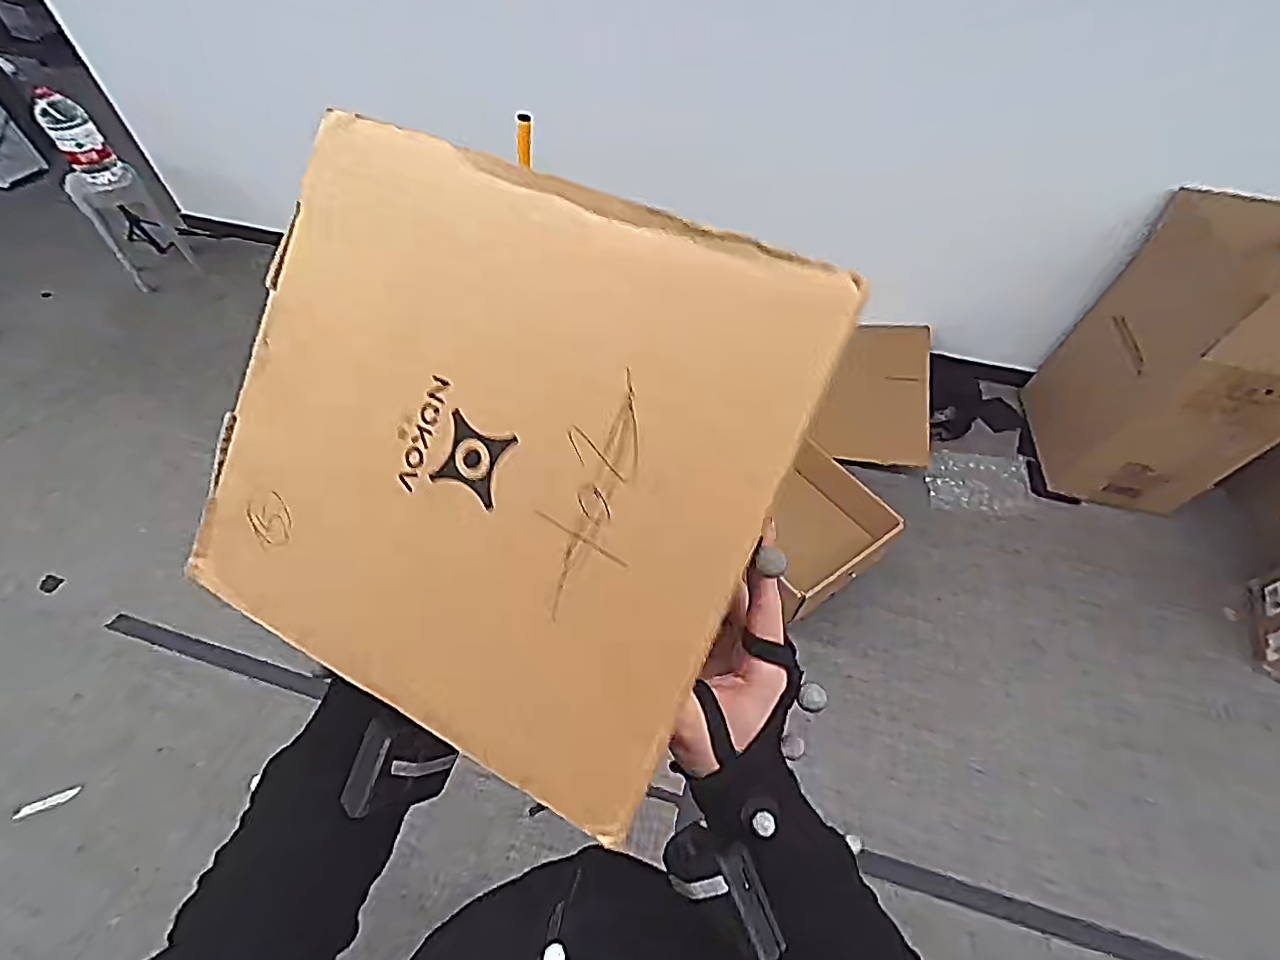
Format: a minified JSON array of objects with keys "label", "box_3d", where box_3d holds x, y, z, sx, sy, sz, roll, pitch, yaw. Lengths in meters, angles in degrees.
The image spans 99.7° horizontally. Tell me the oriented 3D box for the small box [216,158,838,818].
[{"label":"small box","box_3d":[-0.032,-0.005,0.251,0.179,0.176,0.168,24,98,13]}]
